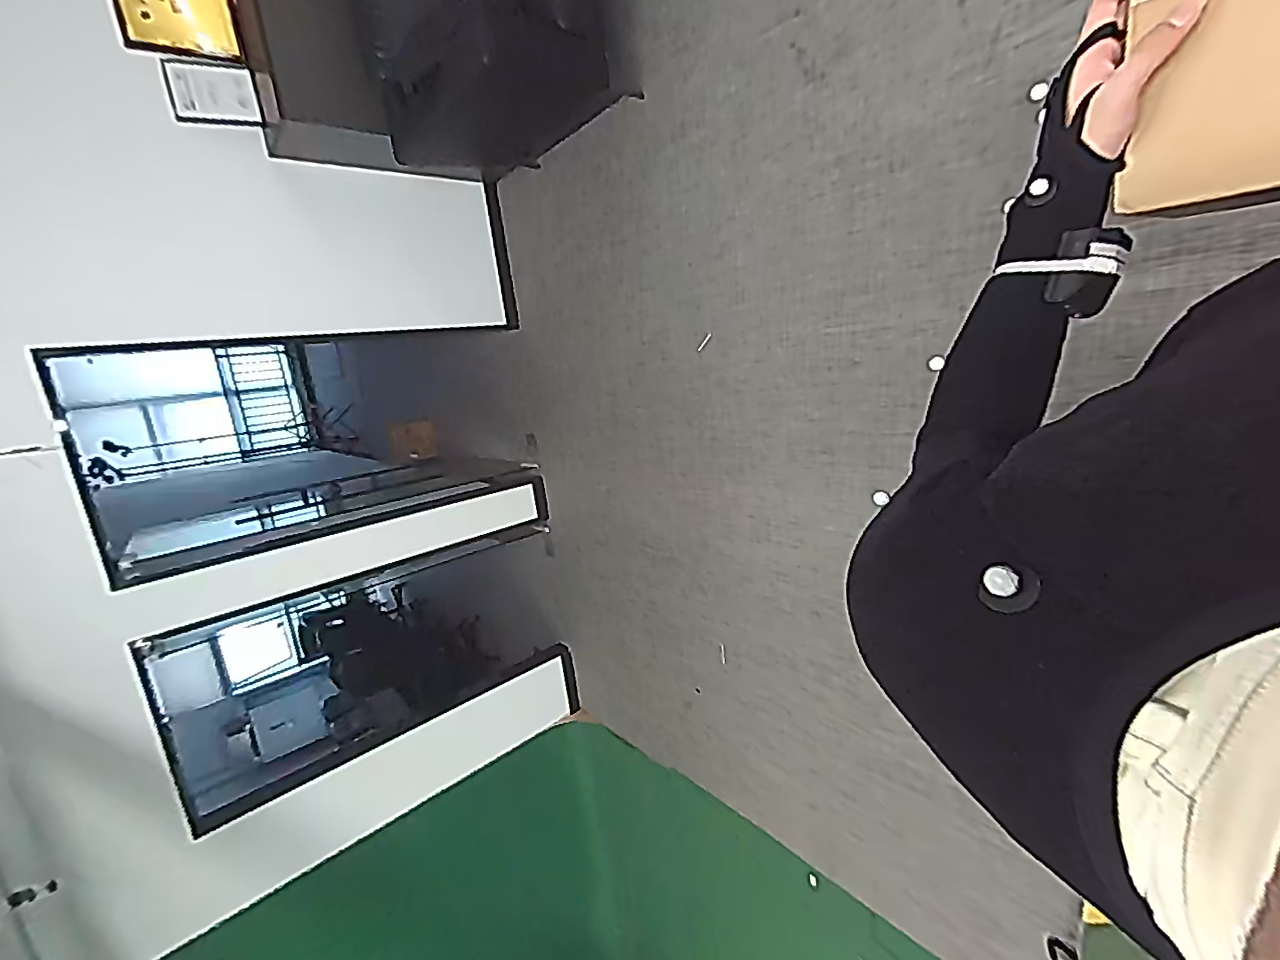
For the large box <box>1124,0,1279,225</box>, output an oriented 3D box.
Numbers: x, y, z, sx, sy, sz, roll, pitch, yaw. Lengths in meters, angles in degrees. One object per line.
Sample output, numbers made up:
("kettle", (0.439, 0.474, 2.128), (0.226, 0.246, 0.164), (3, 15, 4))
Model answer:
("large box", (0.622, -0.389, 0.364), (0.408, 0.320, 0.320), (9, 113, 47))
